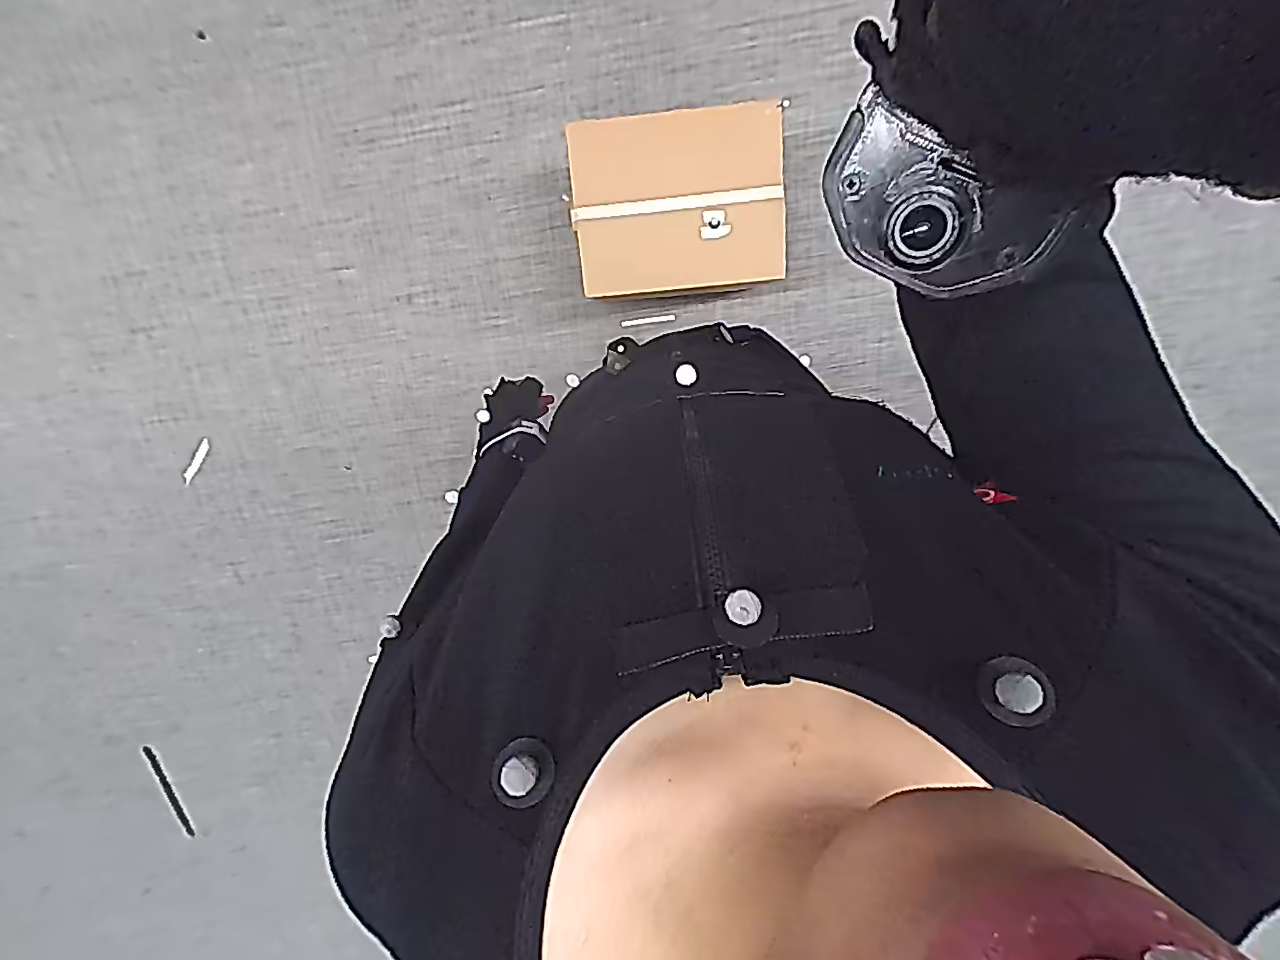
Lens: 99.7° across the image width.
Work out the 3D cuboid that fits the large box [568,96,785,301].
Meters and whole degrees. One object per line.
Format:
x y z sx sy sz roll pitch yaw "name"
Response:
0.078 -0.583 1.188 0.408 0.320 0.320 -5 106 2 "large box"
